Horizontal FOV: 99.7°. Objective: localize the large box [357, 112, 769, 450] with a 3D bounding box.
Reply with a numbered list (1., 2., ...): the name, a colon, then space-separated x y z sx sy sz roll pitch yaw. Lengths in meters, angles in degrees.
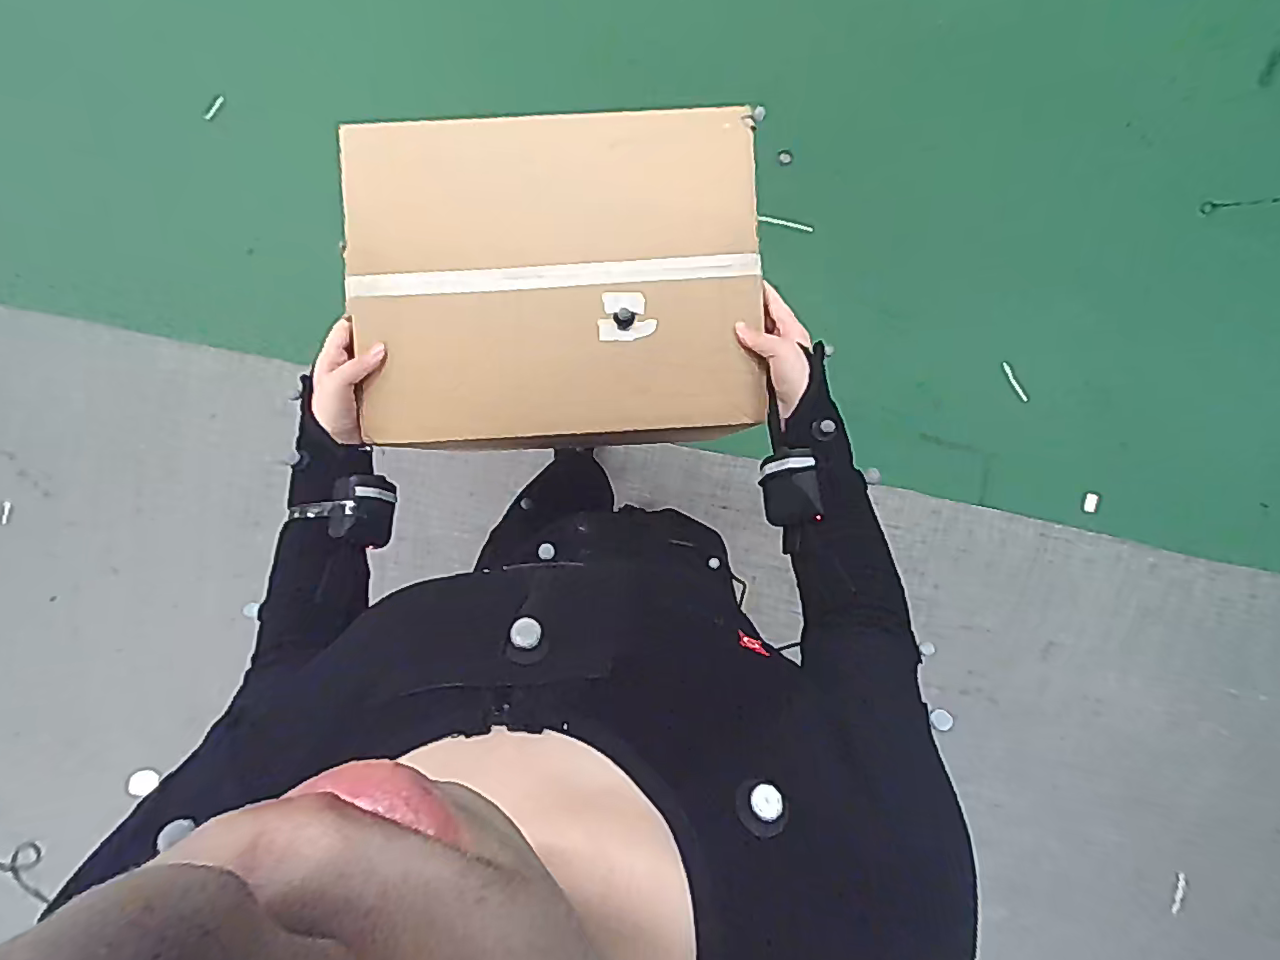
1. large box: -0.081 -0.209 0.691 0.408 0.320 0.320 -3 92 -2
